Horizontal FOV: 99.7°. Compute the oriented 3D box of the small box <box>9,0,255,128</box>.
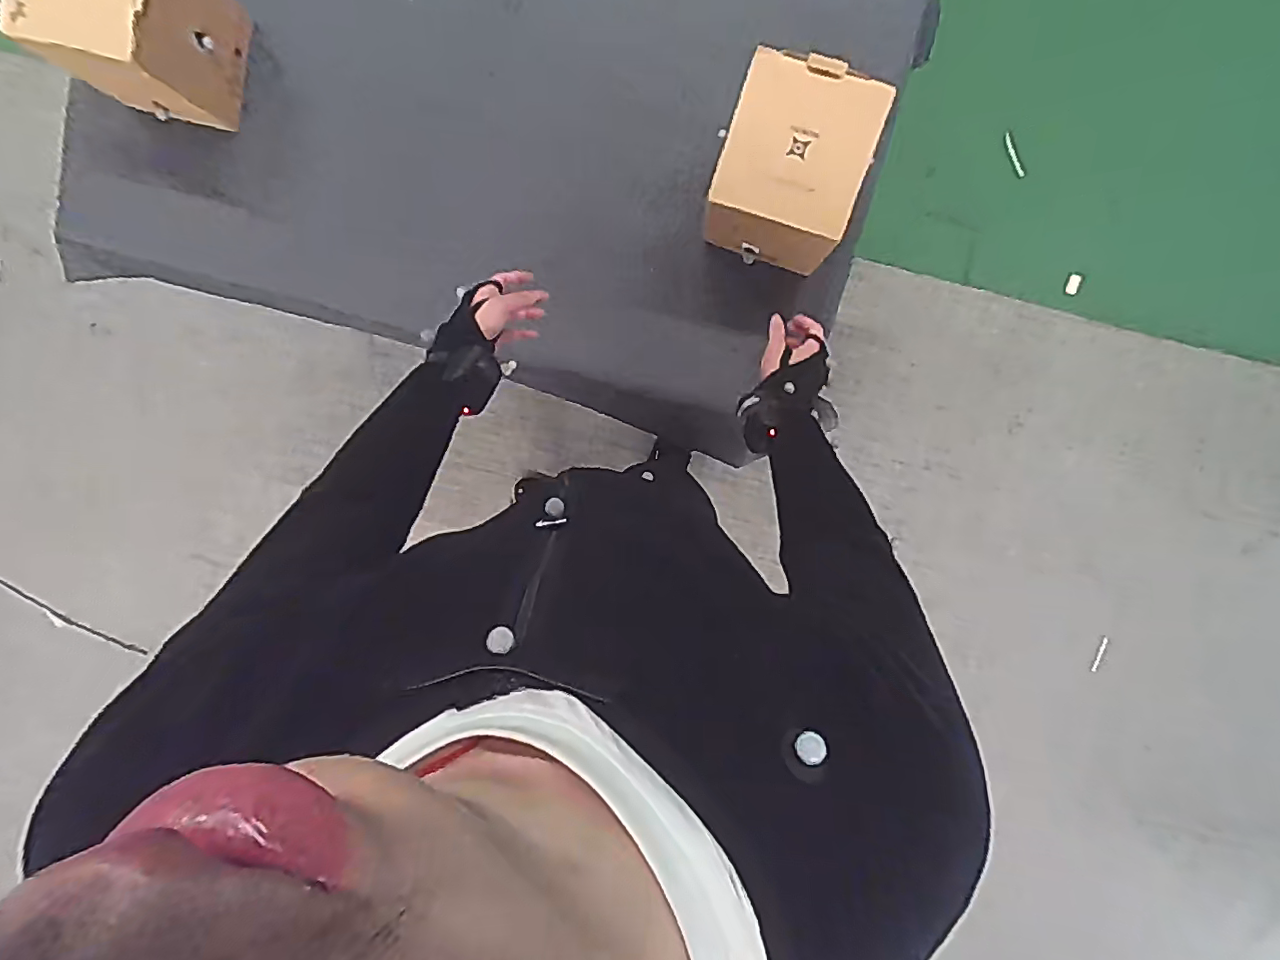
[{"bbox_3d":[-0.669,-0.614,0.732,0.179,0.176,0.168,14,98,1],"label":"small box"}]

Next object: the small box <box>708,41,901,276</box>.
[{"bbox_3d":[0.189,-0.387,0.684,0.168,0.176,0.179,21,98,3],"label":"small box"}]
